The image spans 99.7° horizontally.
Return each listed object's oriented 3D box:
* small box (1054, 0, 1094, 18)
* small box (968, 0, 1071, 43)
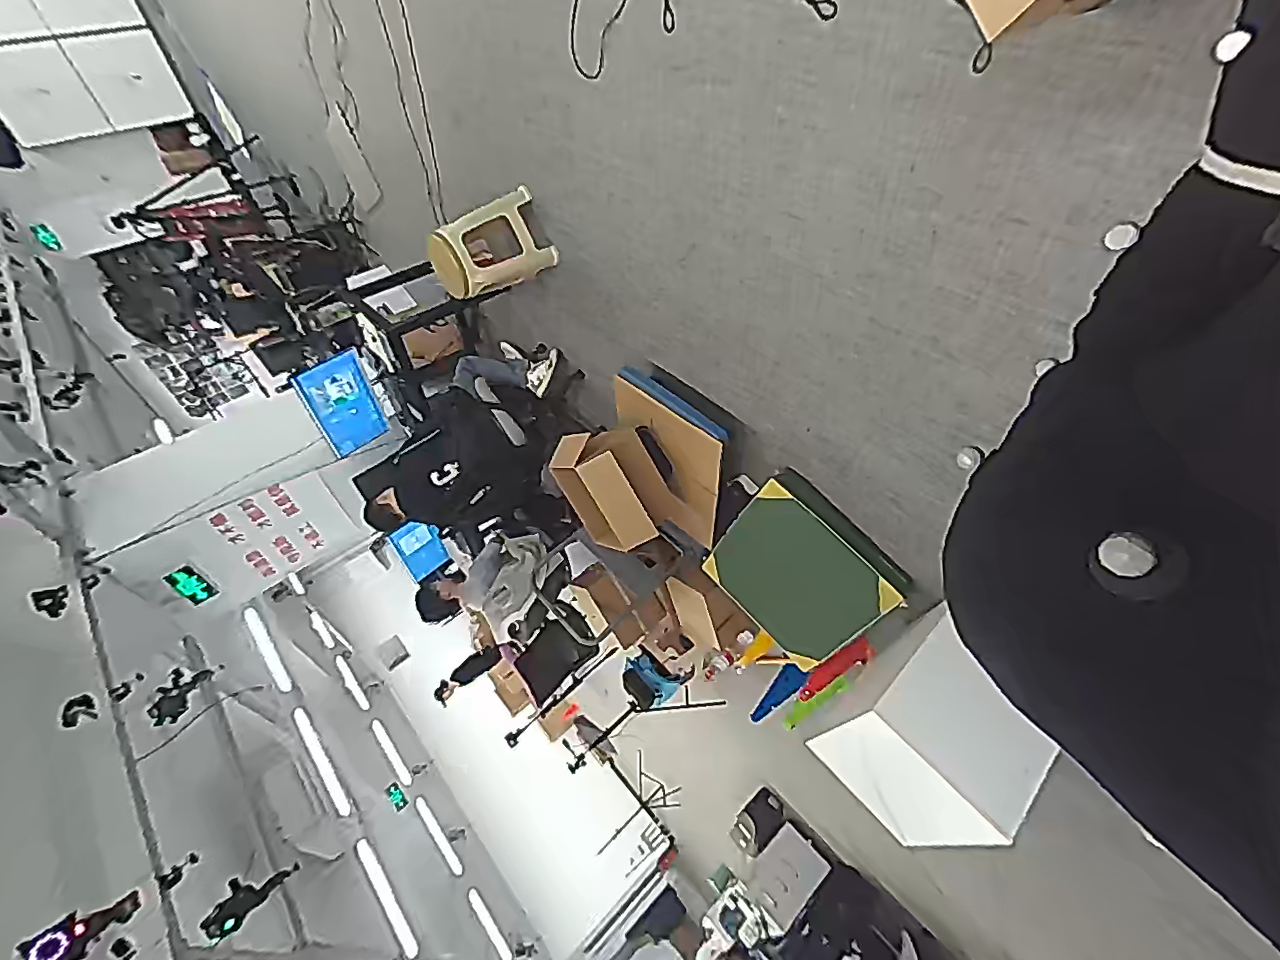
[{"bbox_3d":[0.680,-0.836,0.787,0.179,0.176,0.168,56,154,-1],"label":"small box"},{"bbox_3d":[0.555,-0.747,0.725,0.168,0.176,0.179,59,155,-5],"label":"small box"}]
